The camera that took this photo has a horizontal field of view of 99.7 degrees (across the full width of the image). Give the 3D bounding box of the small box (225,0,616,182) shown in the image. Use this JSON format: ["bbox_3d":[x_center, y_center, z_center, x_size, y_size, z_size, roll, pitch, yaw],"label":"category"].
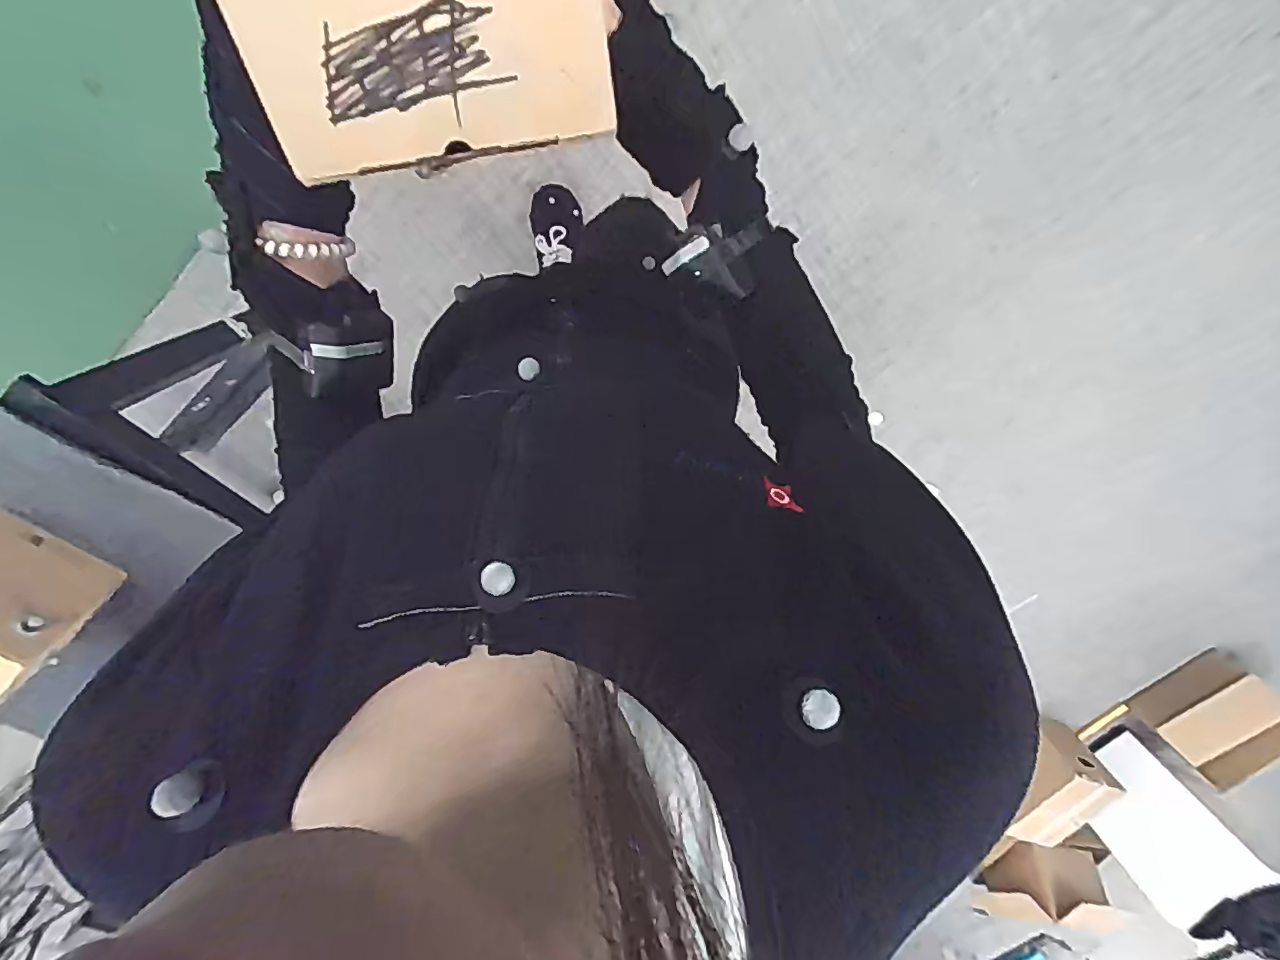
[{"bbox_3d":[-0.110,-0.279,0.291,0.168,0.176,0.179,-10,125,-2],"label":"small box"}]
